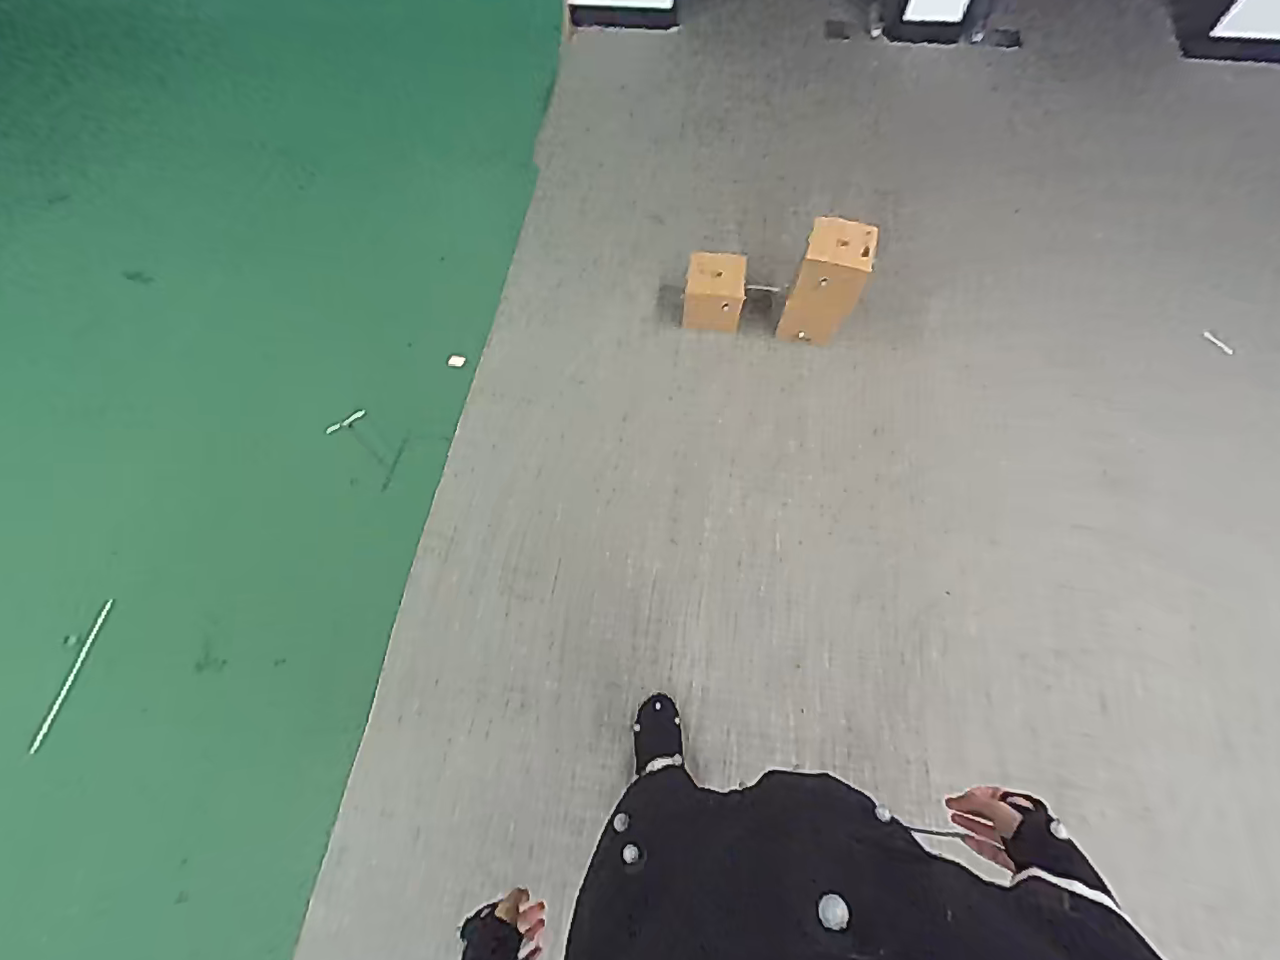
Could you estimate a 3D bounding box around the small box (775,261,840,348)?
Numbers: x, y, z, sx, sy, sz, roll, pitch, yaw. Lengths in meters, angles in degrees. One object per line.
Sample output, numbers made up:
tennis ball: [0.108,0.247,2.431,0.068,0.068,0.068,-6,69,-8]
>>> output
small box: [0.531,-0.545,1.689,0.168,0.176,0.179,15,69,9]

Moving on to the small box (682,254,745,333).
small box: [0.229,-0.585,1.714,0.179,0.176,0.168,6,67,5]

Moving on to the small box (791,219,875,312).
small box: [0.541,-0.604,1.535,0.179,0.176,0.168,15,68,9]
